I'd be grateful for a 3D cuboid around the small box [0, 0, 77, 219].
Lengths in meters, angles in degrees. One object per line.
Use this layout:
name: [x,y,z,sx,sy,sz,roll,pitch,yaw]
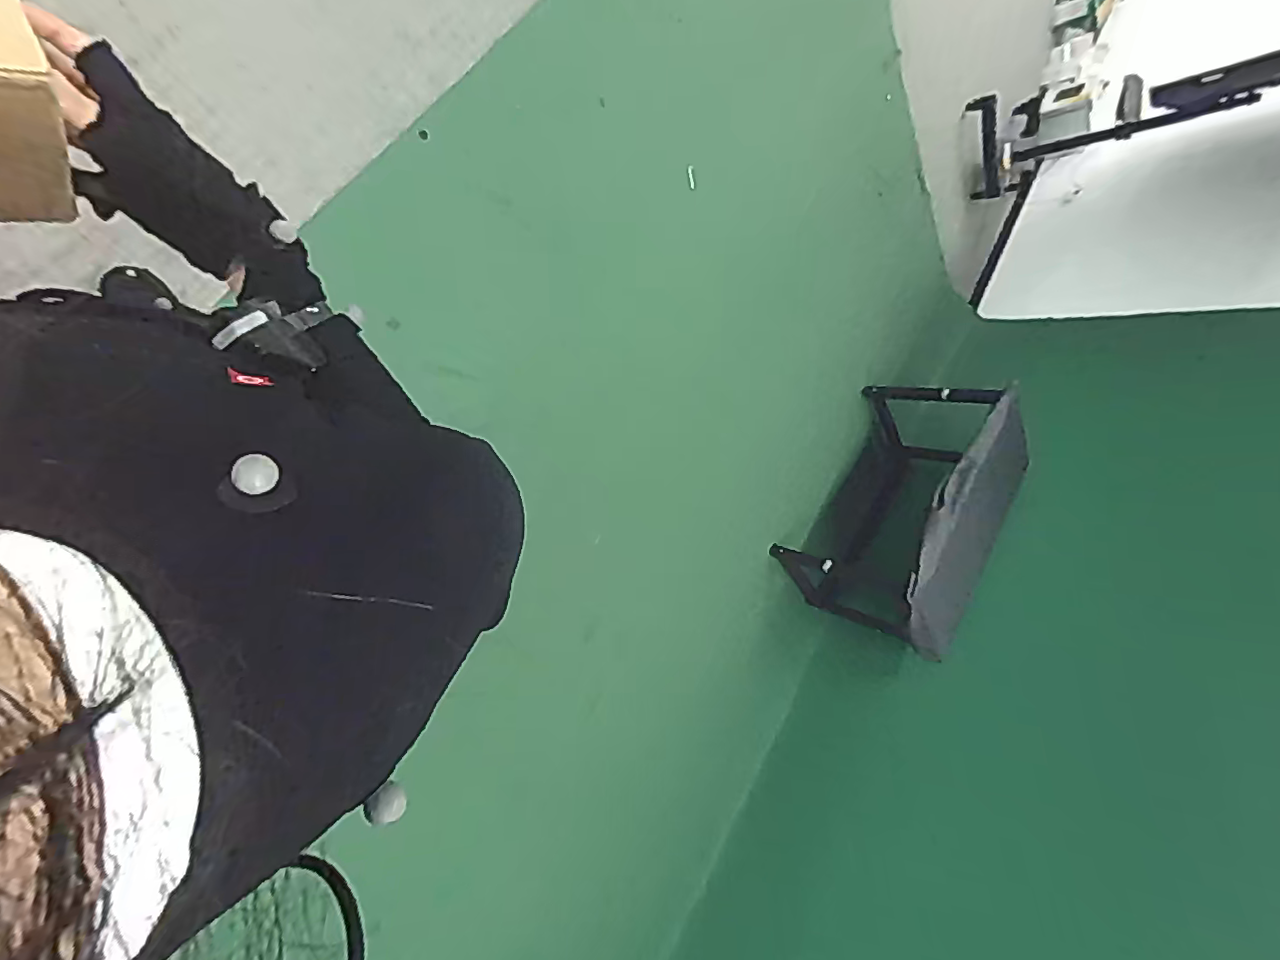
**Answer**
small box: [-0.414,-0.244,0.251,0.168,0.176,0.179,-28,107,-41]
